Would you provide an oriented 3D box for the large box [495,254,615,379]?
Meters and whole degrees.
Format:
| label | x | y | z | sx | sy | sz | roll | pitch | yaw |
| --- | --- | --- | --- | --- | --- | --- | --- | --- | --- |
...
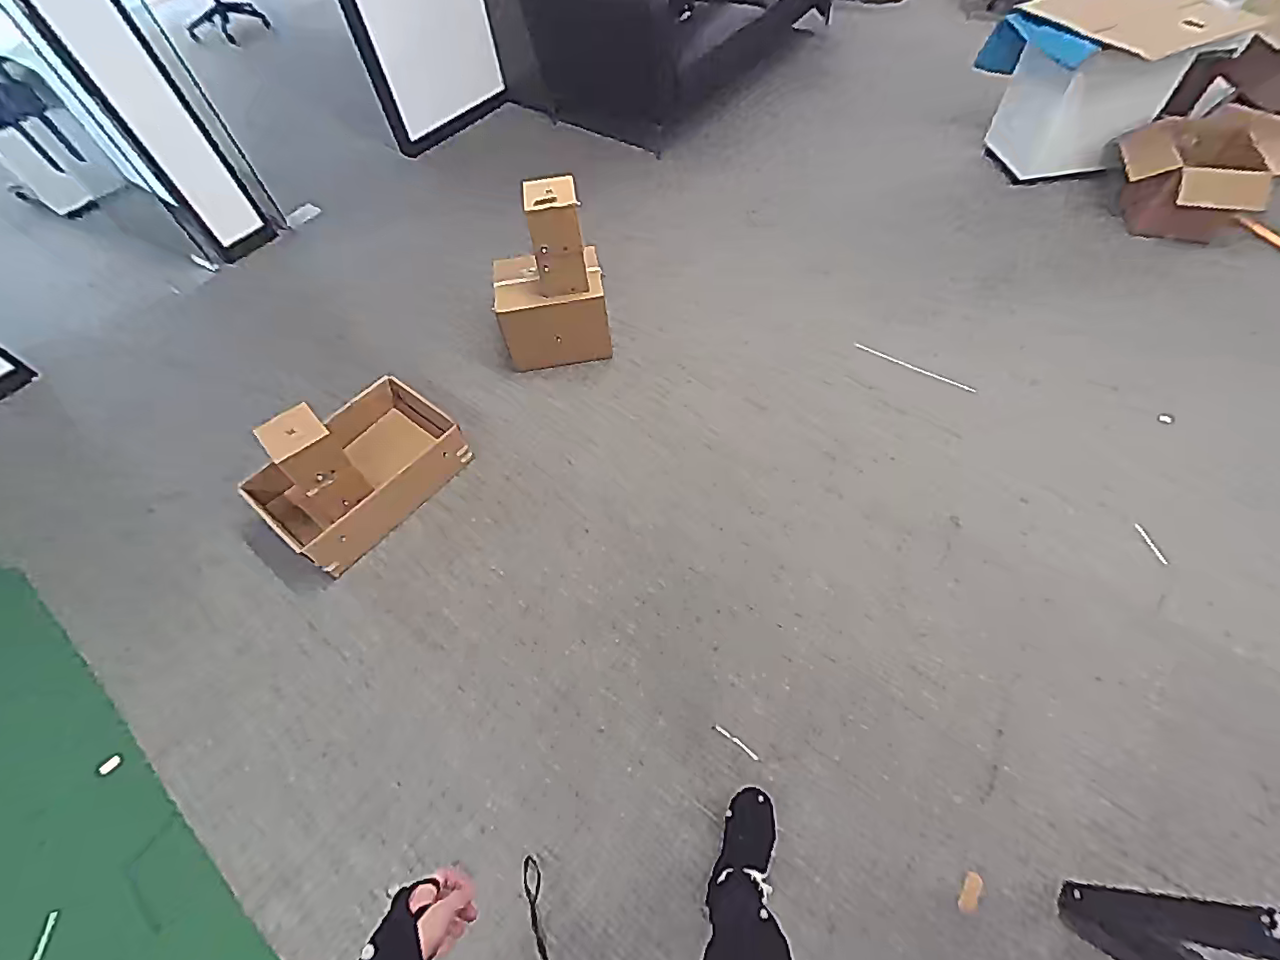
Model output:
| label | x | y | z | sx | sy | sz | roll | pitch | yaw |
| --- | --- | --- | --- | --- | --- | --- | --- | --- | --- |
| large box | -0.334 | -0.650 | 2.168 | 0.408 | 0.320 | 0.320 | -11 | 55 | -1 |

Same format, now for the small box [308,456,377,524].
| label | x | y | z | sx | sy | sz | roll | pitch | yaw |
| --- | --- | --- | --- | --- | --- | --- | --- | --- | --- |
| small box | -1.017 | 0.016 | 1.798 | 0.179 | 0.176 | 0.168 | 37 | 63 | 23 |

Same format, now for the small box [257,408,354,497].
| label | x | y | z | sx | sy | sz | roll | pitch | yaw |
| --- | --- | --- | --- | --- | --- | --- | --- | --- | --- |
| small box | -1.025 | -0.081 | 1.667 | 0.168 | 0.176 | 0.179 | -38 | 62 | -22 |

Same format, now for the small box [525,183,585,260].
| label | x | y | z | sx | sy | sz | roll | pitch | yaw |
| --- | --- | --- | --- | --- | --- | --- | --- | --- | --- |
| small box | -0.283 | -0.857 | 1.809 | 0.168 | 0.176 | 0.179 | -9 | 56 | -1 |
